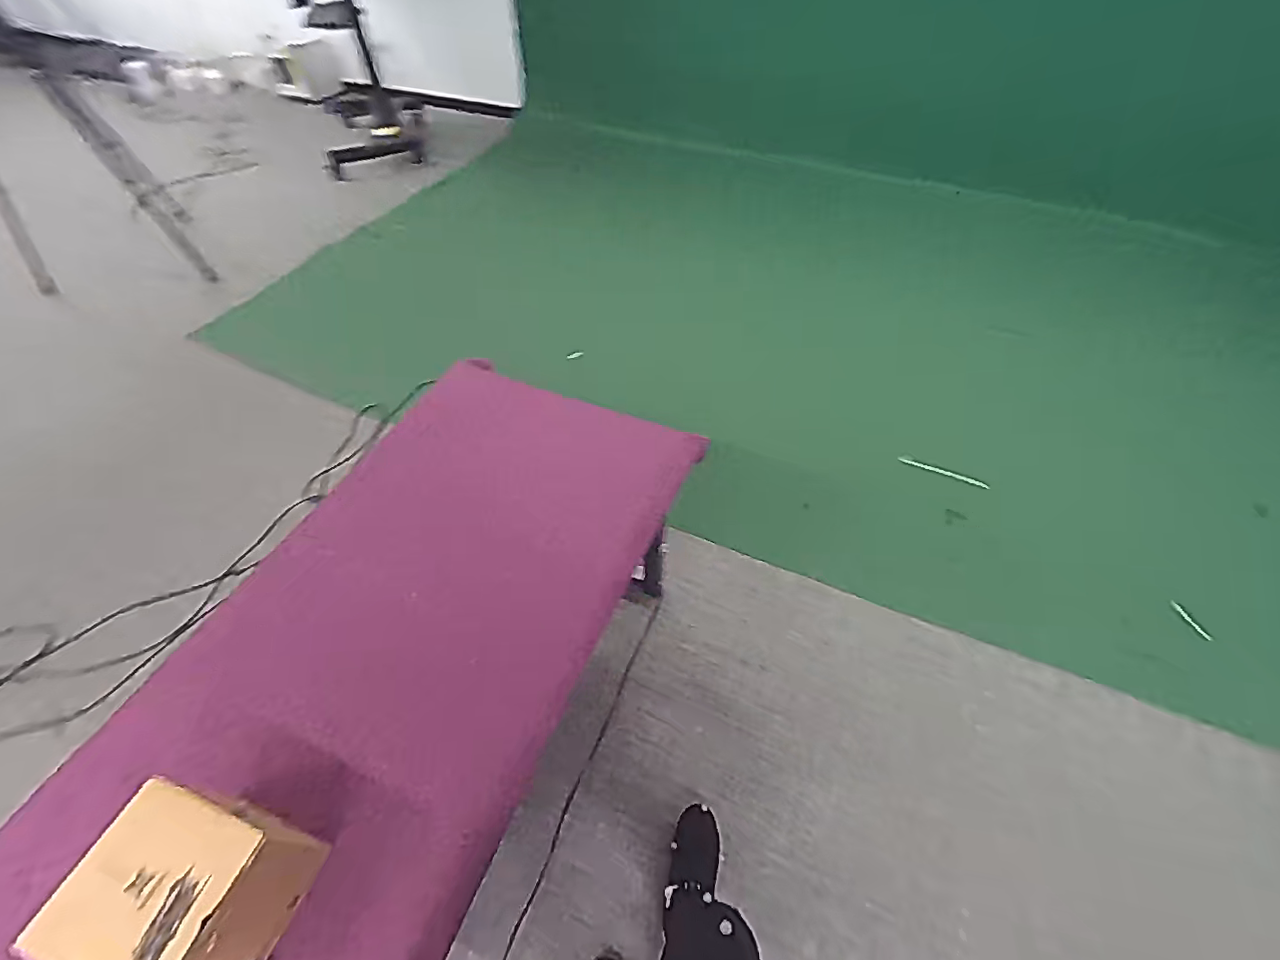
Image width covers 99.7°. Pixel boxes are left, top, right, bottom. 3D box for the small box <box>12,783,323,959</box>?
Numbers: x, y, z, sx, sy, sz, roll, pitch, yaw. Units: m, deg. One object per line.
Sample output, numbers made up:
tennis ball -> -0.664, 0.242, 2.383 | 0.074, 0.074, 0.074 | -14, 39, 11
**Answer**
small box -> -0.521, 0.485, 0.631 | 0.179, 0.176, 0.168 | 15, 53, 13
